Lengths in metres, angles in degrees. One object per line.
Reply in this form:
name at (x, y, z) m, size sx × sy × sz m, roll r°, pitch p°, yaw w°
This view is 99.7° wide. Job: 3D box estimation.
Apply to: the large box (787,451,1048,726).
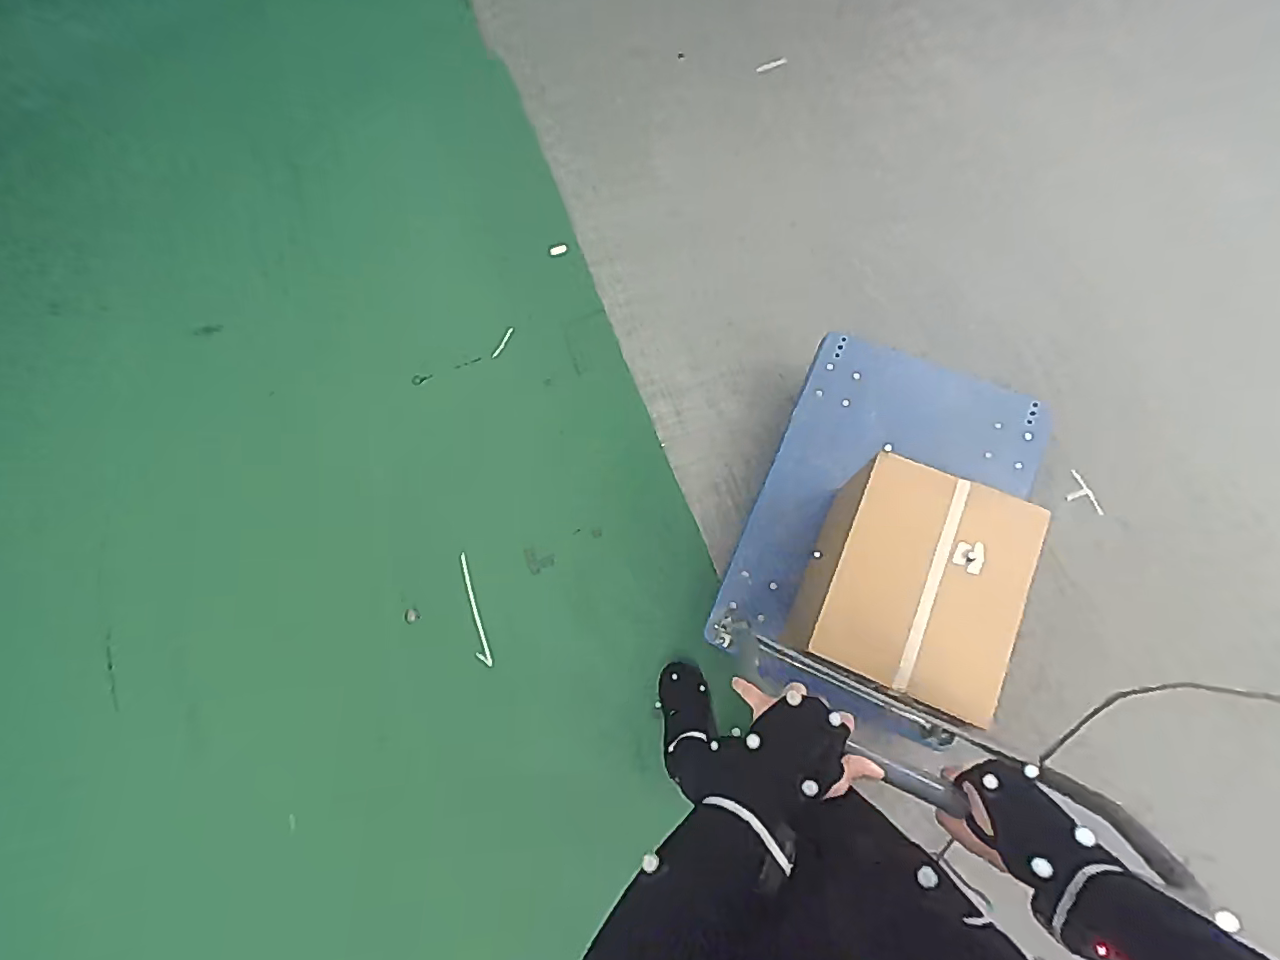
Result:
large box at (0.528, 0.216, 1.092) m, size 0.320 × 0.320 × 0.408 m, roll 23°, pitch 77°, yaw 10°
